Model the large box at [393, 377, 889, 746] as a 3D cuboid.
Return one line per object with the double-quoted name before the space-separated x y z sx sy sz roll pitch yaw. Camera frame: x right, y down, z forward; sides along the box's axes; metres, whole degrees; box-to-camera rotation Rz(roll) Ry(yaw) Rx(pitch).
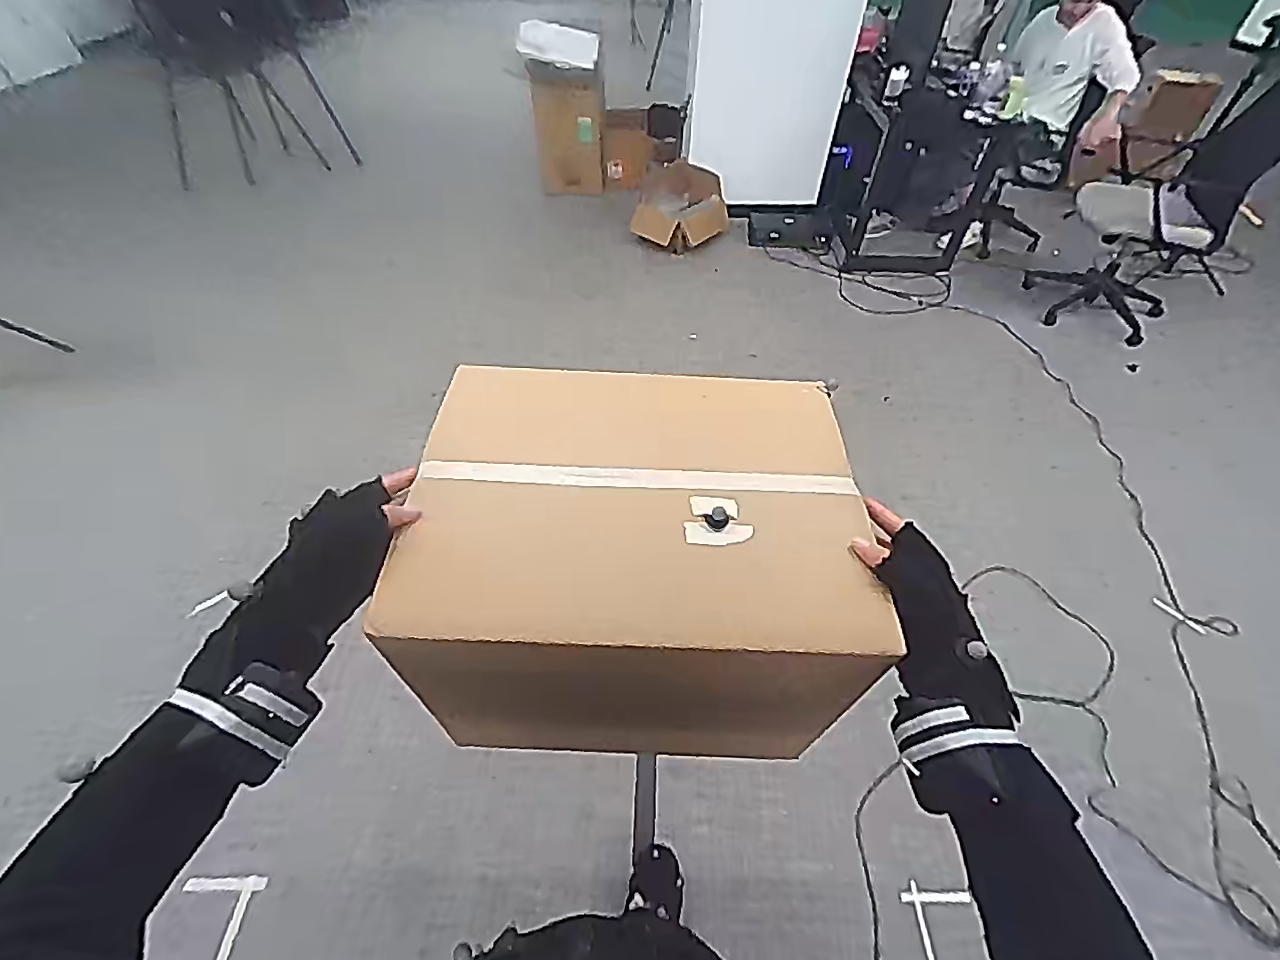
"large box" -0.003 0.103 0.633 0.408 0.320 0.320 3 50 -1
